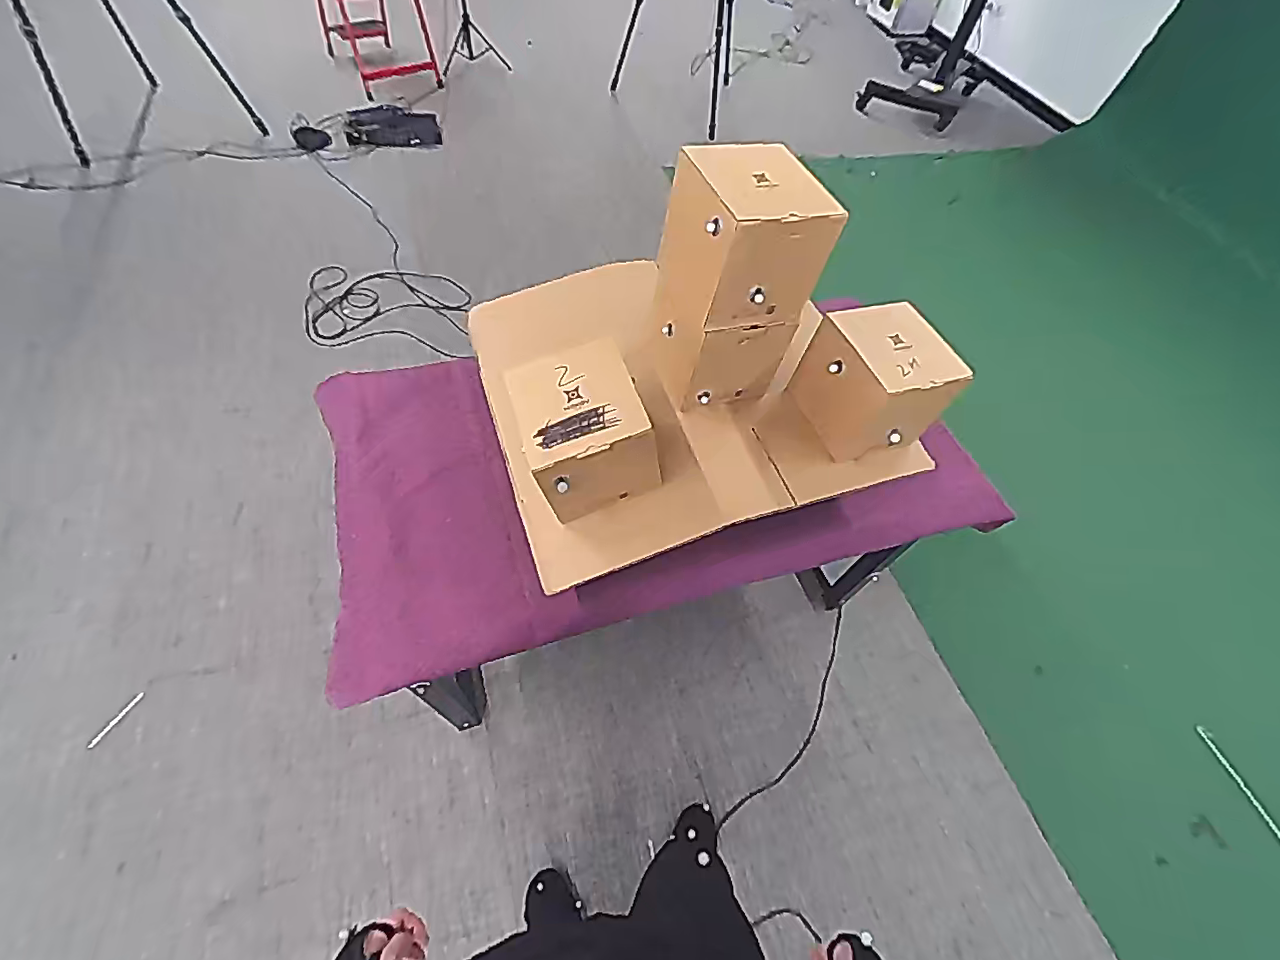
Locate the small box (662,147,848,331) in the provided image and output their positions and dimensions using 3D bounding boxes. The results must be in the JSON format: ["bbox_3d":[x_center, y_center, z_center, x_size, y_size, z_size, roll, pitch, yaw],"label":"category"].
[{"bbox_3d":[0.145,-0.338,0.761,0.168,0.176,0.179,-14,61,-20],"label":"small box"}]

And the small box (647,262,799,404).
[{"bbox_3d":[0.125,-0.242,0.890,0.168,0.176,0.179,-13,59,-19],"label":"small box"}]

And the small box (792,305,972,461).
[{"bbox_3d":[0.377,-0.157,0.880,0.168,0.176,0.179,-13,60,-18],"label":"small box"}]
